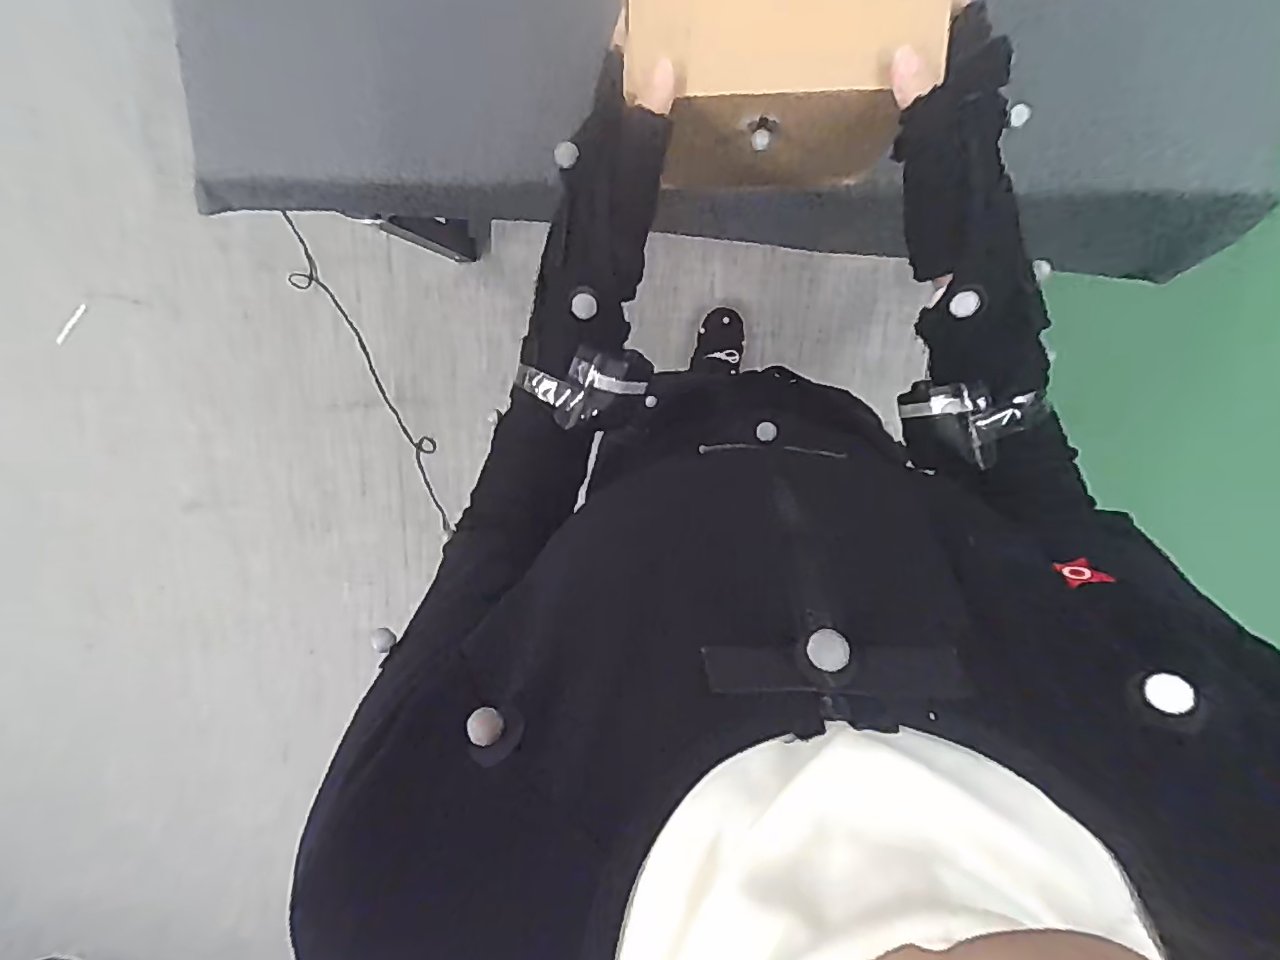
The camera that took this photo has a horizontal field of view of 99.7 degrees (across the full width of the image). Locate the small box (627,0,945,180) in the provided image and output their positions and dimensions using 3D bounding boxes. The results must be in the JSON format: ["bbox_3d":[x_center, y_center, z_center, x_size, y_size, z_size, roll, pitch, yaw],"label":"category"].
[{"bbox_3d":[0.088,-0.321,0.370,0.179,0.176,0.168,1,102,6],"label":"small box"}]
